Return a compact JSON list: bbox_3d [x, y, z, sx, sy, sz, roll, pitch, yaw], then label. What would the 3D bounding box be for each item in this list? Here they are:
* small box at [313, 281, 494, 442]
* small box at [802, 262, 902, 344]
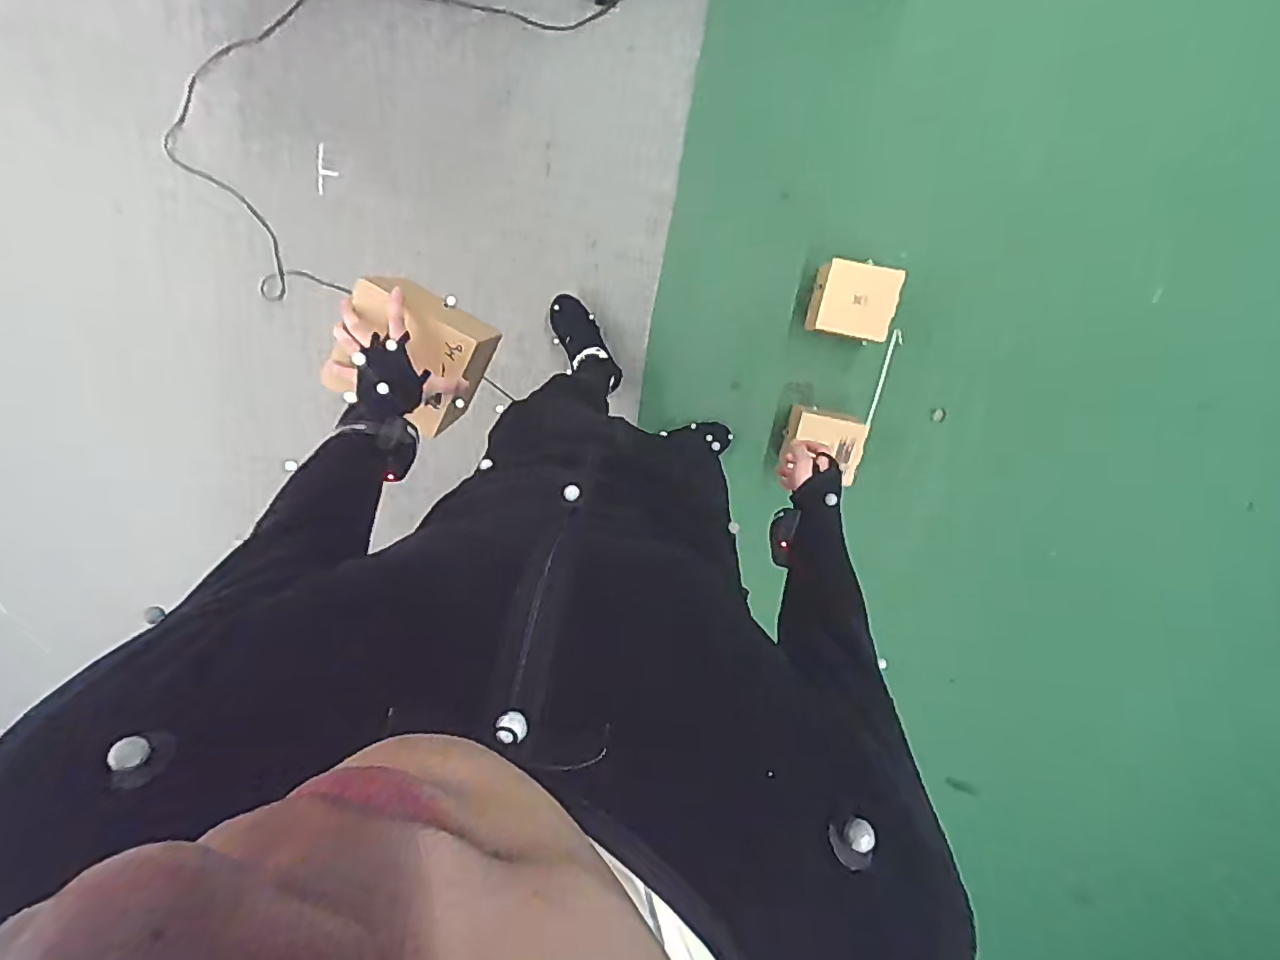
[{"bbox_3d":[-0.351,-0.185,0.832,0.179,0.176,0.168,28,107,-10],"label":"small box"},{"bbox_3d":[0.527,-0.443,1.375,0.179,0.176,0.168,12,106,2],"label":"small box"}]
